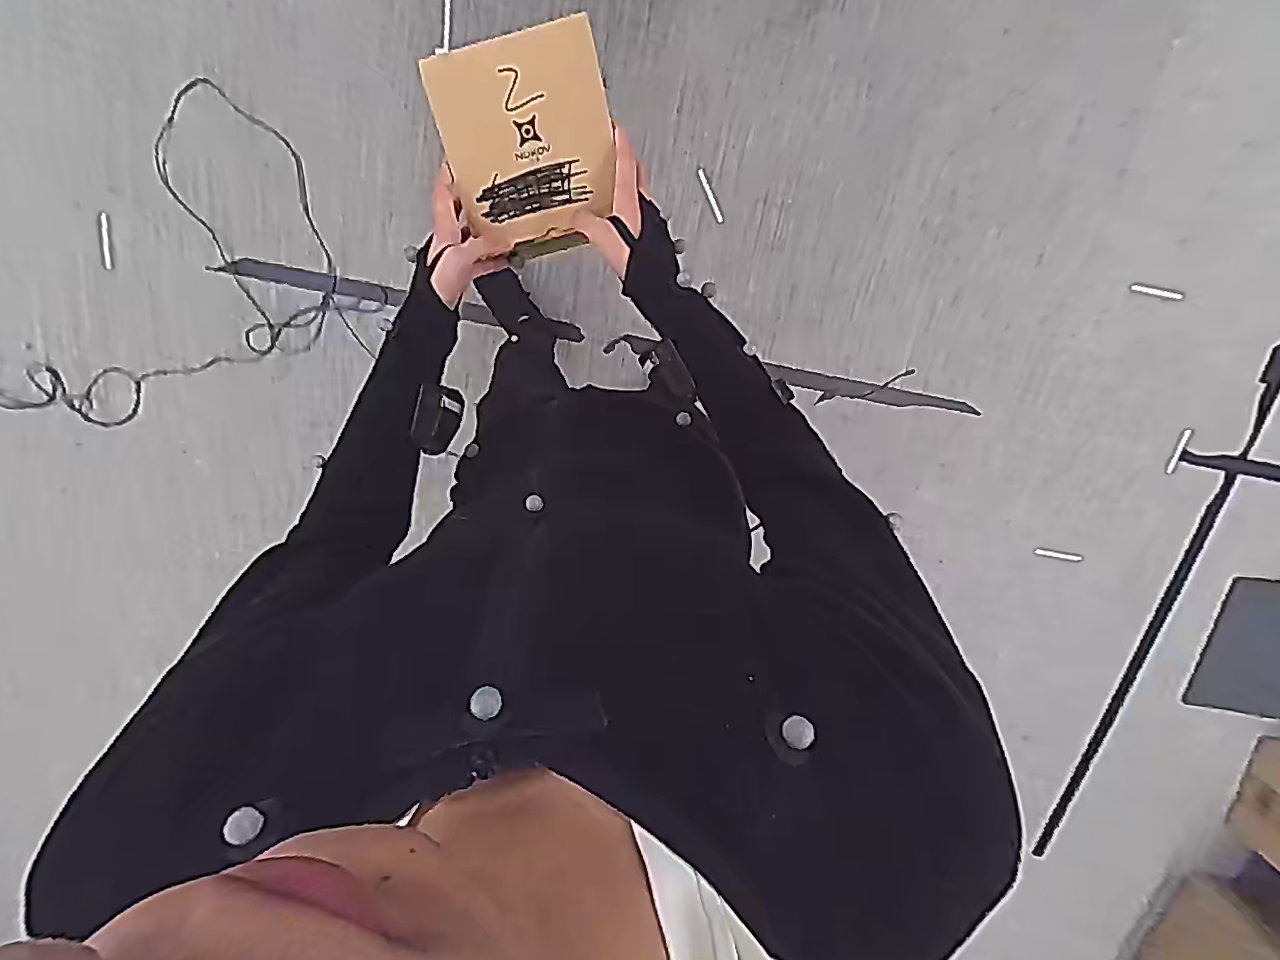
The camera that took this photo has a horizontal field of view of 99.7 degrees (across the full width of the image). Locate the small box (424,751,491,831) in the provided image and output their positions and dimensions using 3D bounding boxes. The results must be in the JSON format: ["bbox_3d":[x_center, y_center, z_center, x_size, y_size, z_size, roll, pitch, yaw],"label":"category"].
[{"bbox_3d":[-0.634,1.085,1.896,0.179,0.176,0.168,11,107,-2],"label":"small box"}]

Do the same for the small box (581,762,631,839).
[{"bbox_3d":[-0.116,1.131,1.911,0.168,0.176,0.179,-1,107,-1],"label":"small box"}]
